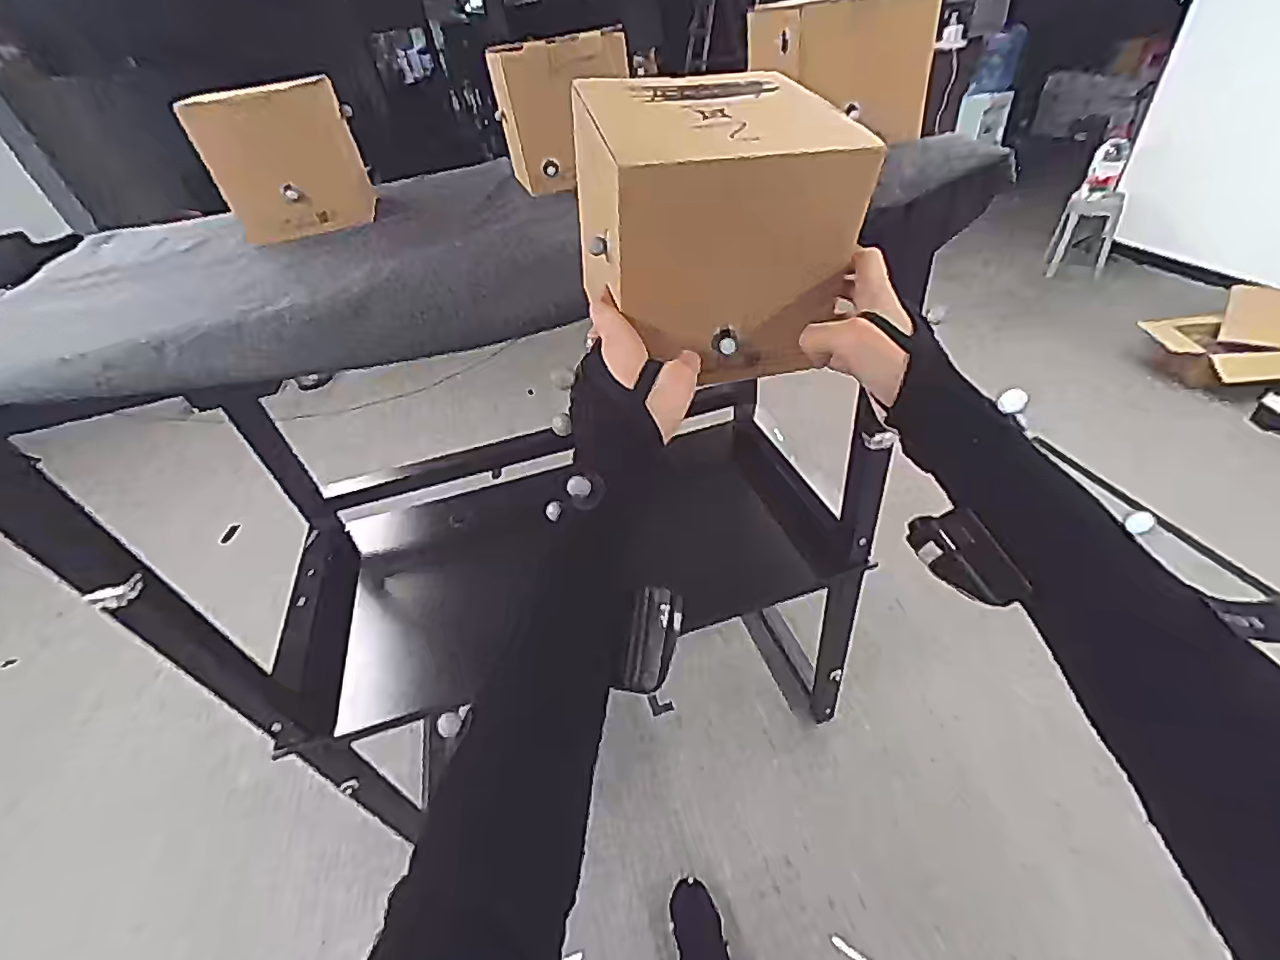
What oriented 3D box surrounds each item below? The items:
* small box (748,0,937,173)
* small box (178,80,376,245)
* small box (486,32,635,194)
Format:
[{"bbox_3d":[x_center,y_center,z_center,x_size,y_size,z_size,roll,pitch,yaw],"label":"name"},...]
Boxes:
[{"bbox_3d":[0.245,-0.515,0.702,0.168,0.176,0.179,-13,41,-4],"label":"small box"},{"bbox_3d":[-0.498,-0.456,0.776,0.168,0.176,0.179,-18,42,-10],"label":"small box"},{"bbox_3d":[-0.115,-0.539,0.800,0.168,0.176,0.179,-18,40,-10],"label":"small box"}]
